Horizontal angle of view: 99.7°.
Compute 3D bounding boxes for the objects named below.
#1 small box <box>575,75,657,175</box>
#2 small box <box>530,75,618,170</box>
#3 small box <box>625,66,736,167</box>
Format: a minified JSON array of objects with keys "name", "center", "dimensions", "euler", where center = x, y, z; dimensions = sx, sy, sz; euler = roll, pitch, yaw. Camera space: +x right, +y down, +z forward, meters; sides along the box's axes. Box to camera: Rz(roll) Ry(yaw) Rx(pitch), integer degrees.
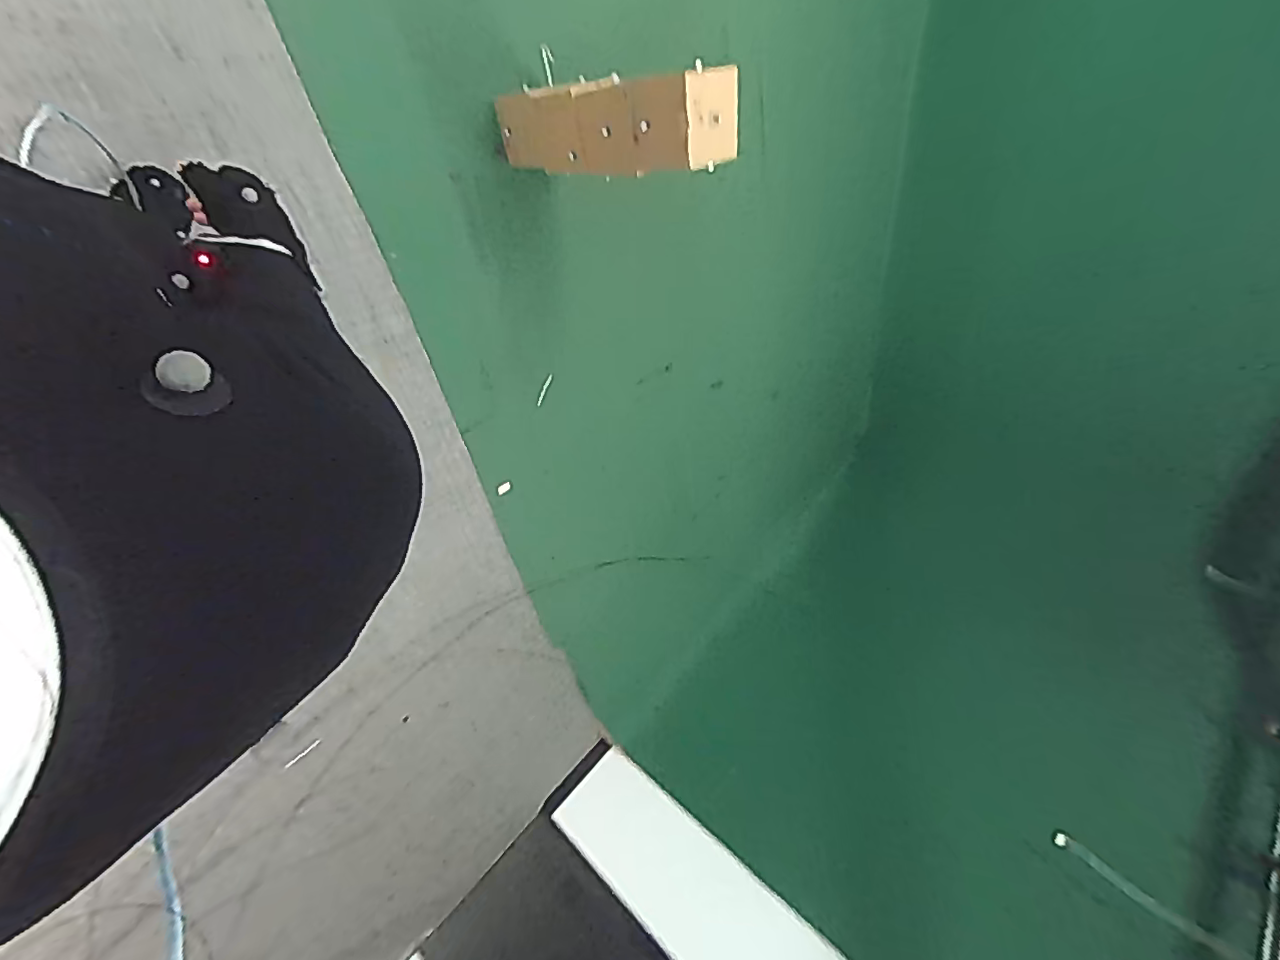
[{"name":"small box","center":[-0.028,-0.841,1.278],"dimensions":[0.168,0.176,0.179],"euler":[-39,136,-29]},{"name":"small box","center":[-0.153,-0.899,1.368],"dimensions":[0.168,0.176,0.179],"euler":[-38,136,-29]},{"name":"small box","center":[0.090,-0.789,1.175],"dimensions":[0.179,0.176,0.168],"euler":[-35,134,-32]}]
